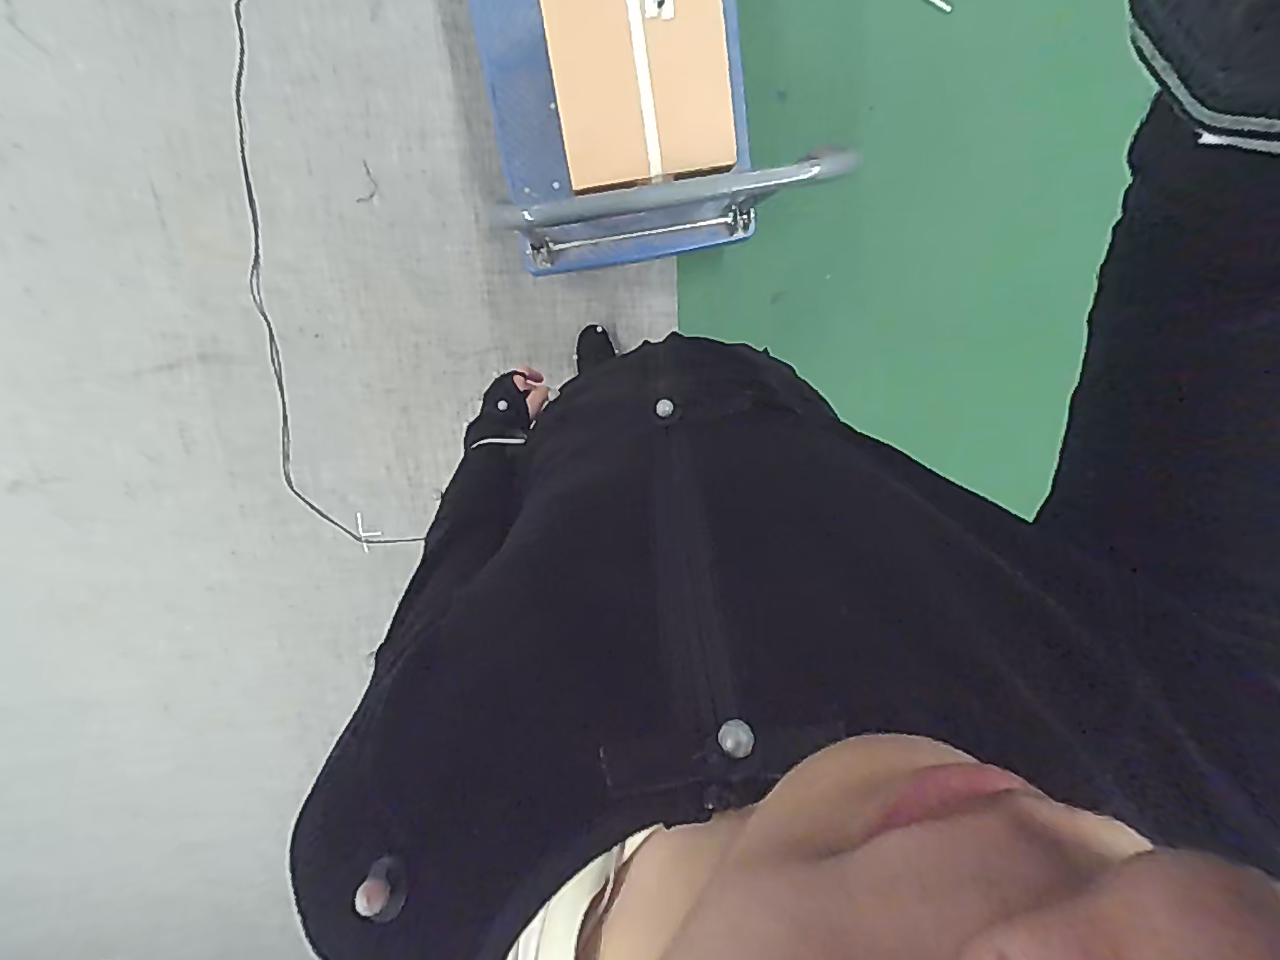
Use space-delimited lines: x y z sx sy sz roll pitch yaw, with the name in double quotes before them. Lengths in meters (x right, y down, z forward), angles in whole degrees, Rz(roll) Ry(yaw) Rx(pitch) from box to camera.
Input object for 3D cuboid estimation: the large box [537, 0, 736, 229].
"large box" -0.011 -0.778 1.101 0.320 0.320 0.408 -10 104 -1
